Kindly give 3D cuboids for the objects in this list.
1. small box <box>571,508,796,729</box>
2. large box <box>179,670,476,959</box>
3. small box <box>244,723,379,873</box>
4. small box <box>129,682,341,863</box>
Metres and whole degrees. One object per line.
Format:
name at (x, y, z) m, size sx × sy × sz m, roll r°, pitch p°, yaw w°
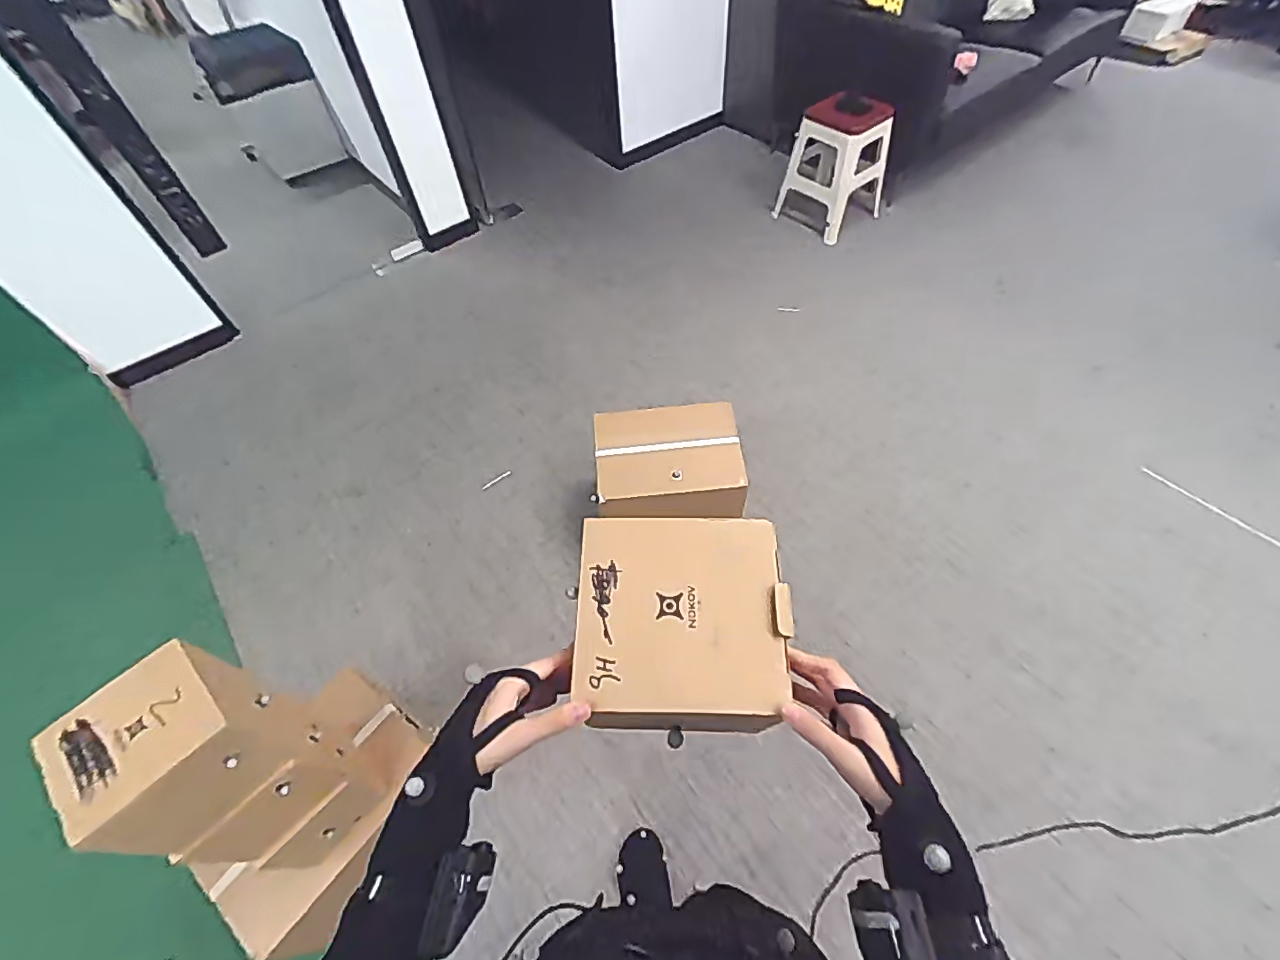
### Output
small box at (0.036, 0.140, 0.521) m, size 0.179 × 0.176 × 0.168 m, roll 2°, pitch 60°, yaw 1°
large box at (-0.636, 0.701, 1.165) m, size 0.320 × 0.320 × 0.408 m, roll 30°, pitch 62°, yaw 23°
small box at (-0.605, 0.555, 0.965) m, size 0.179 × 0.176 × 0.168 m, roll 36°, pitch 63°, yaw 24°
small box at (-0.613, 0.455, 0.838) m, size 0.168 × 0.176 × 0.179 m, roll 37°, pitch 63°, yaw 25°
